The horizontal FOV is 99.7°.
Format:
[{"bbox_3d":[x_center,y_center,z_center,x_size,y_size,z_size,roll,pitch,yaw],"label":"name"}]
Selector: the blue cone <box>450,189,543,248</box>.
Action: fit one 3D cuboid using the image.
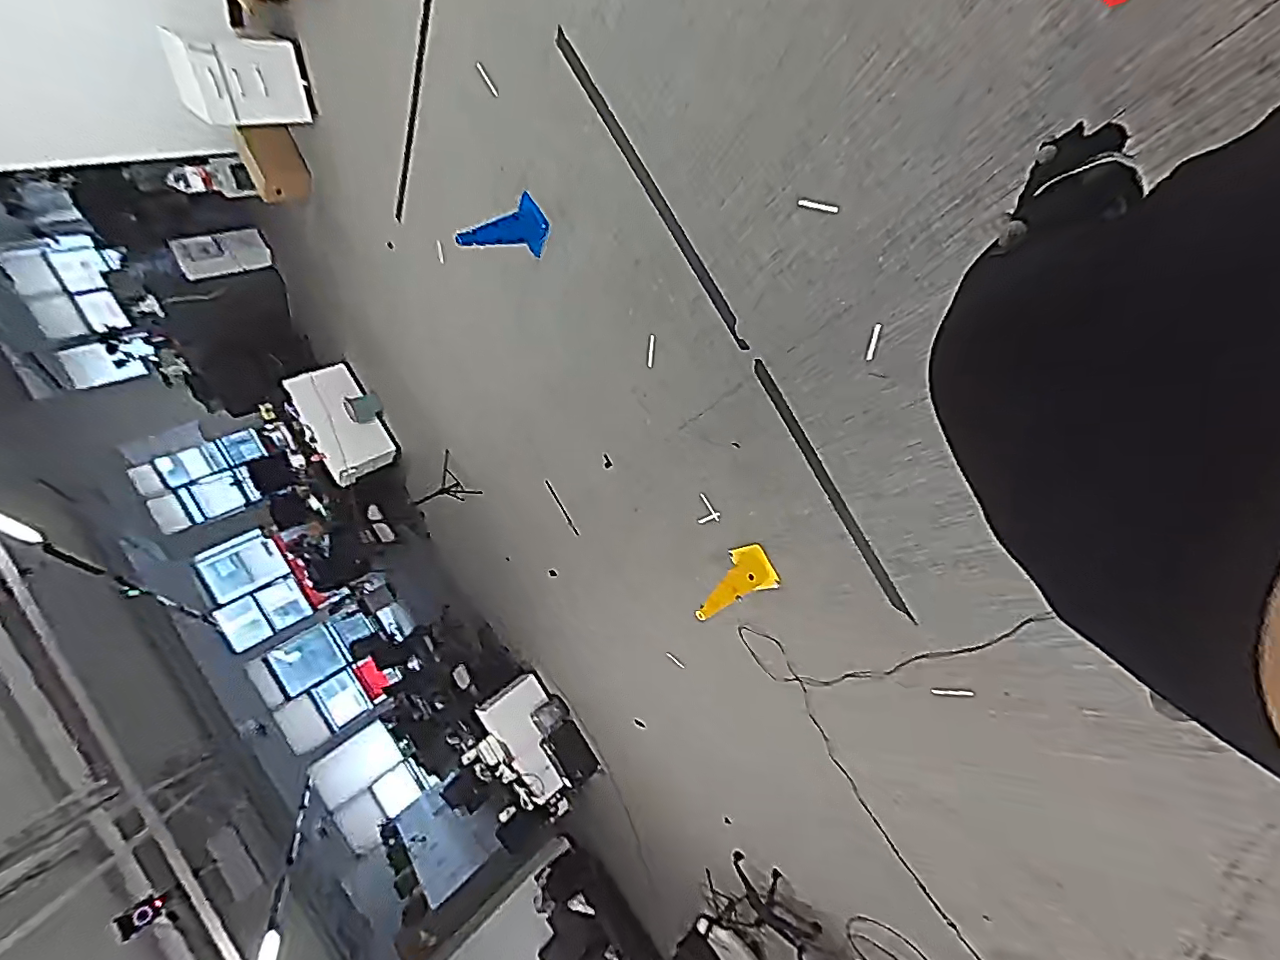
[{"bbox_3d":[-0.607,-1.054,2.236,0.193,0.380,0.192,56,146,4],"label":"blue cone"}]
